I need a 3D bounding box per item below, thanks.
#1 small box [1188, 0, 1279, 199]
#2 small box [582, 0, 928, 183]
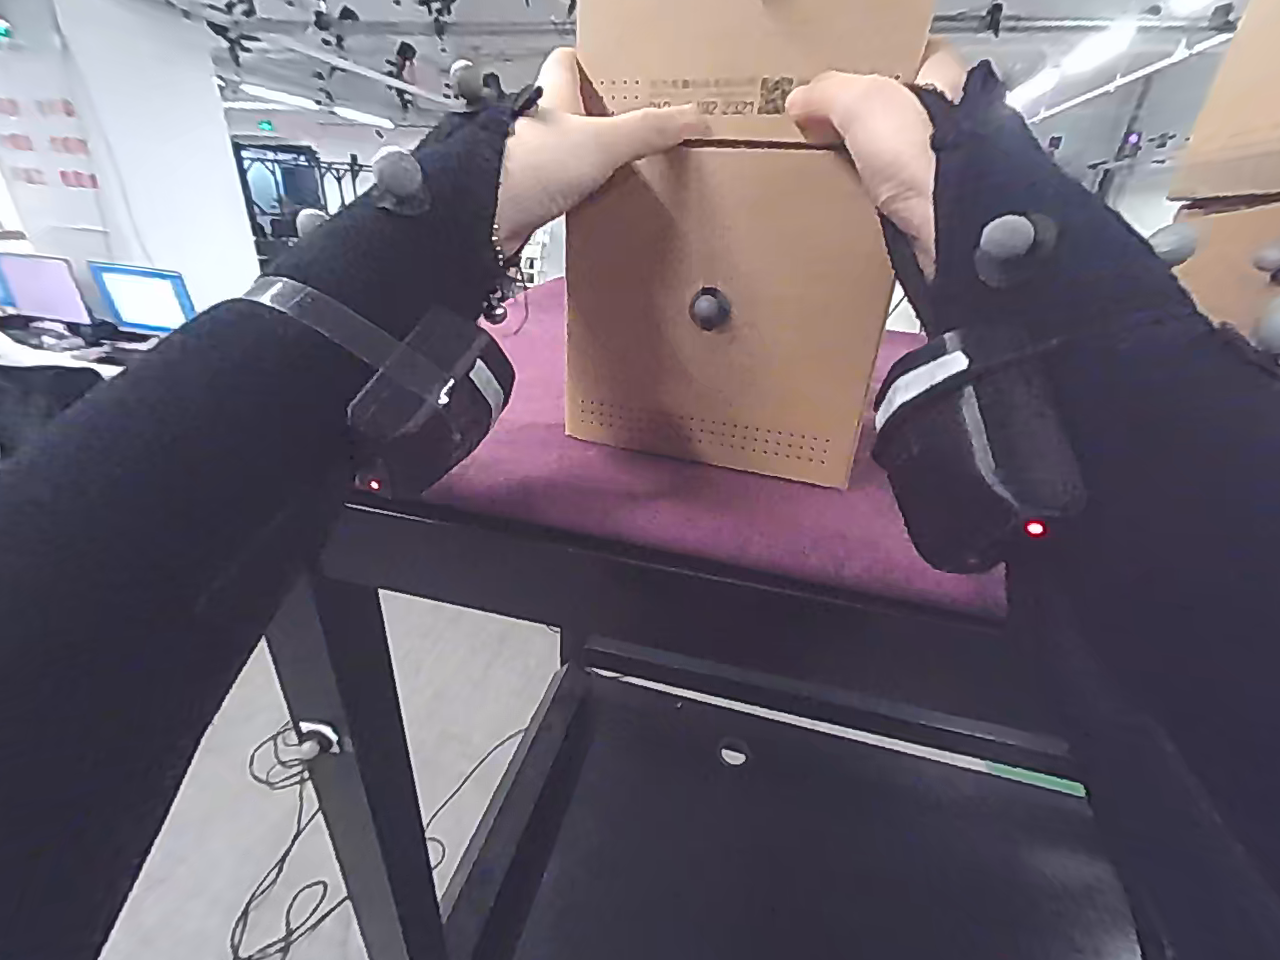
[{"bbox_3d":[0.402,-0.209,0.224,0.168,0.176,0.179,7,26,12],"label":"small box"},{"bbox_3d":[0.073,-0.271,0.306,0.168,0.176,0.179,11,26,17],"label":"small box"}]
